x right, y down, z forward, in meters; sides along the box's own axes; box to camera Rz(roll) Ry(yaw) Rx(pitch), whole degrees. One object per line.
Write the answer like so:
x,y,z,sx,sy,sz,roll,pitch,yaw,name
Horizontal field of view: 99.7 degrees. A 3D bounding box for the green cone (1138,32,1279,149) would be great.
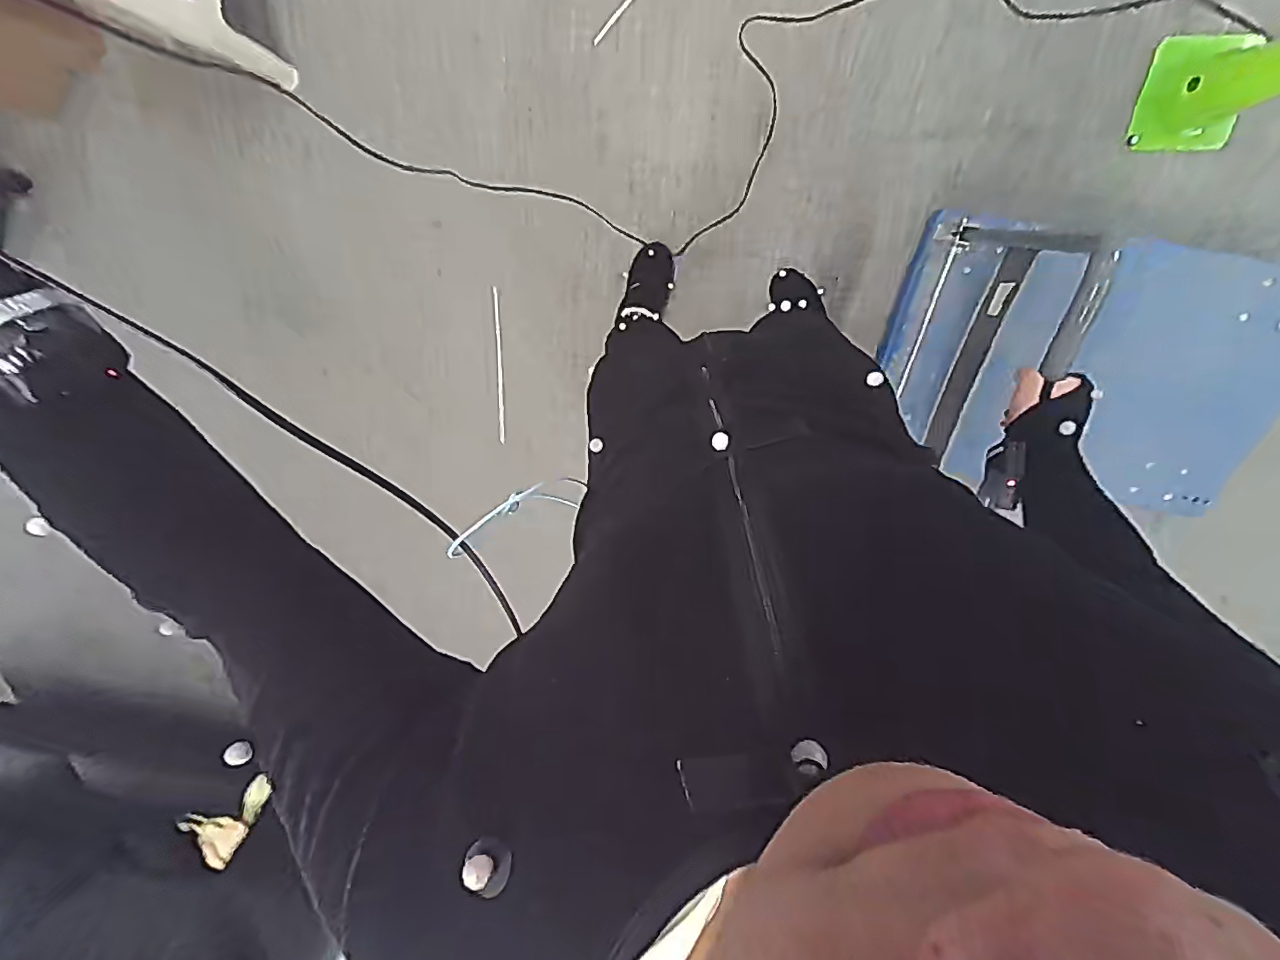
1.145,-0.735,0.964,0.200,0.368,0.202,4,114,8,green cone
